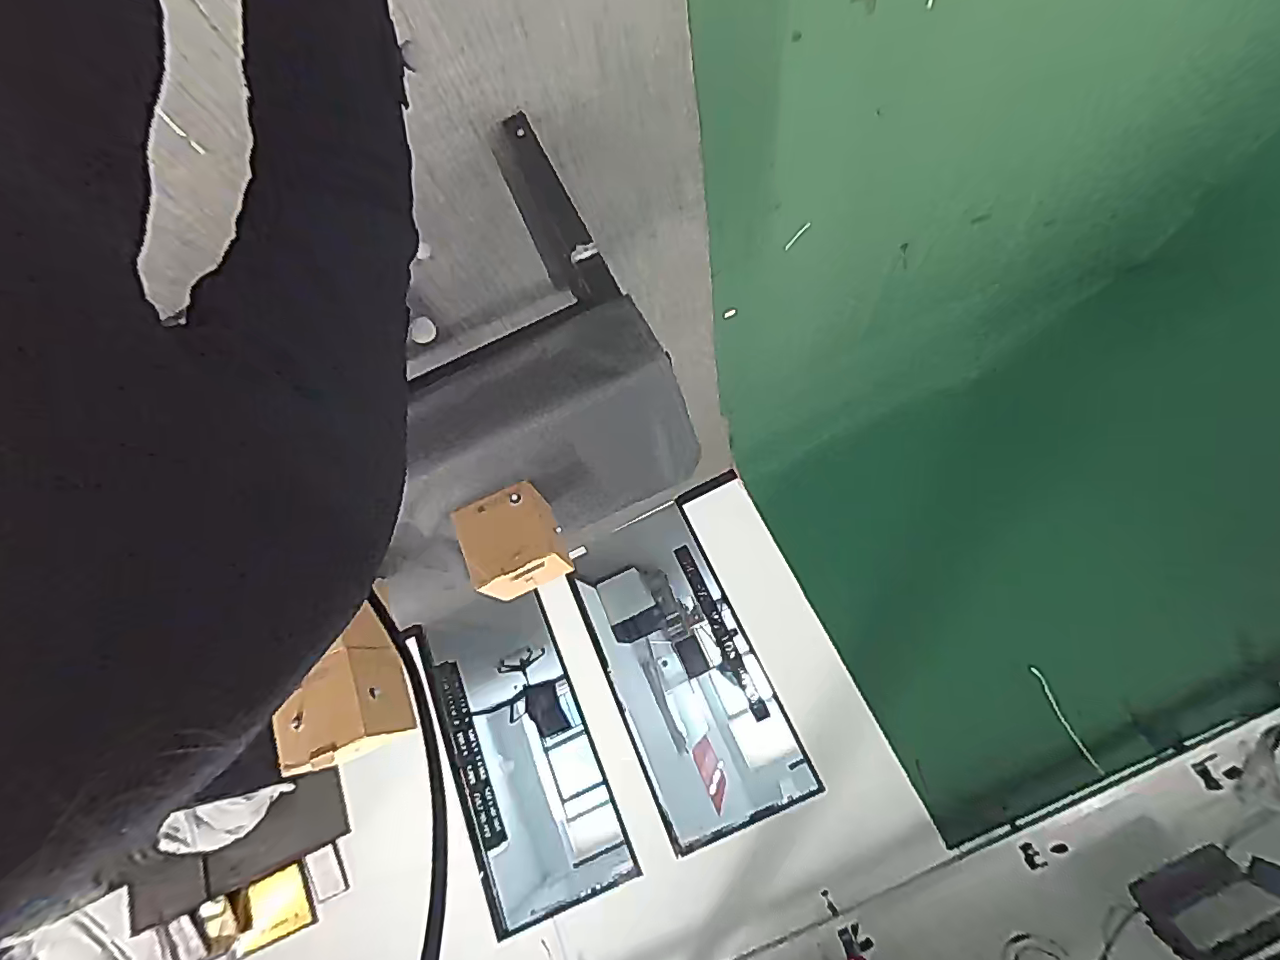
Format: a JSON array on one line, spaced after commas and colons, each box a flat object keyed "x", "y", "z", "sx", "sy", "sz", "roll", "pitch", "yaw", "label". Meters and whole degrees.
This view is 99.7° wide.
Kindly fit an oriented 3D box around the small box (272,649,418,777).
[{"x": -0.568, "y": 0.438, "z": 1.044, "sx": 0.168, "sy": 0.176, "sz": 0.179, "roll": -25, "pitch": 160, "yaw": 0, "label": "small box"}]

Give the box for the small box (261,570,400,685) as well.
[{"x": -0.630, "y": 0.299, "z": 1.102, "sx": 0.168, "sy": 0.176, "sz": 0.179, "roll": -27, "pitch": 158, "yaw": 3, "label": "small box"}]

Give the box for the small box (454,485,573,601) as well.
[{"x": -0.260, "y": 0.129, "z": 1.120, "sx": 0.168, "sy": 0.176, "sz": 0.179, "roll": -24, "pitch": 160, "yaw": -2, "label": "small box"}]
